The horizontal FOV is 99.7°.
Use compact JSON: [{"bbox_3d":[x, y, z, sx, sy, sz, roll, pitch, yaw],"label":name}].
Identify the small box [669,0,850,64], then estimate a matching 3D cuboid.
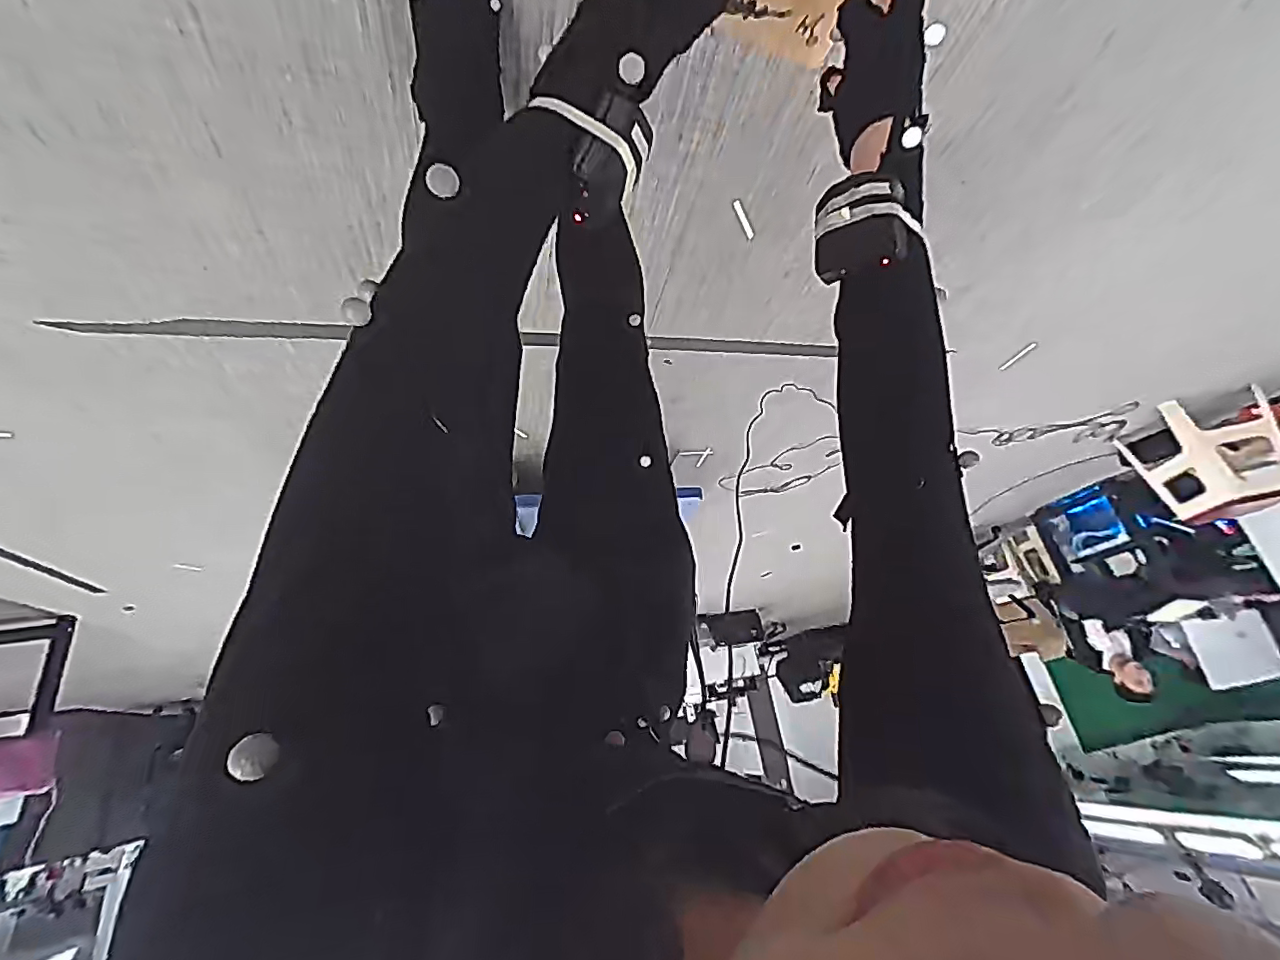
[{"bbox_3d":[0.111,-0.514,0.456,0.168,0.176,0.179,5,150,-22],"label":"small box"}]
